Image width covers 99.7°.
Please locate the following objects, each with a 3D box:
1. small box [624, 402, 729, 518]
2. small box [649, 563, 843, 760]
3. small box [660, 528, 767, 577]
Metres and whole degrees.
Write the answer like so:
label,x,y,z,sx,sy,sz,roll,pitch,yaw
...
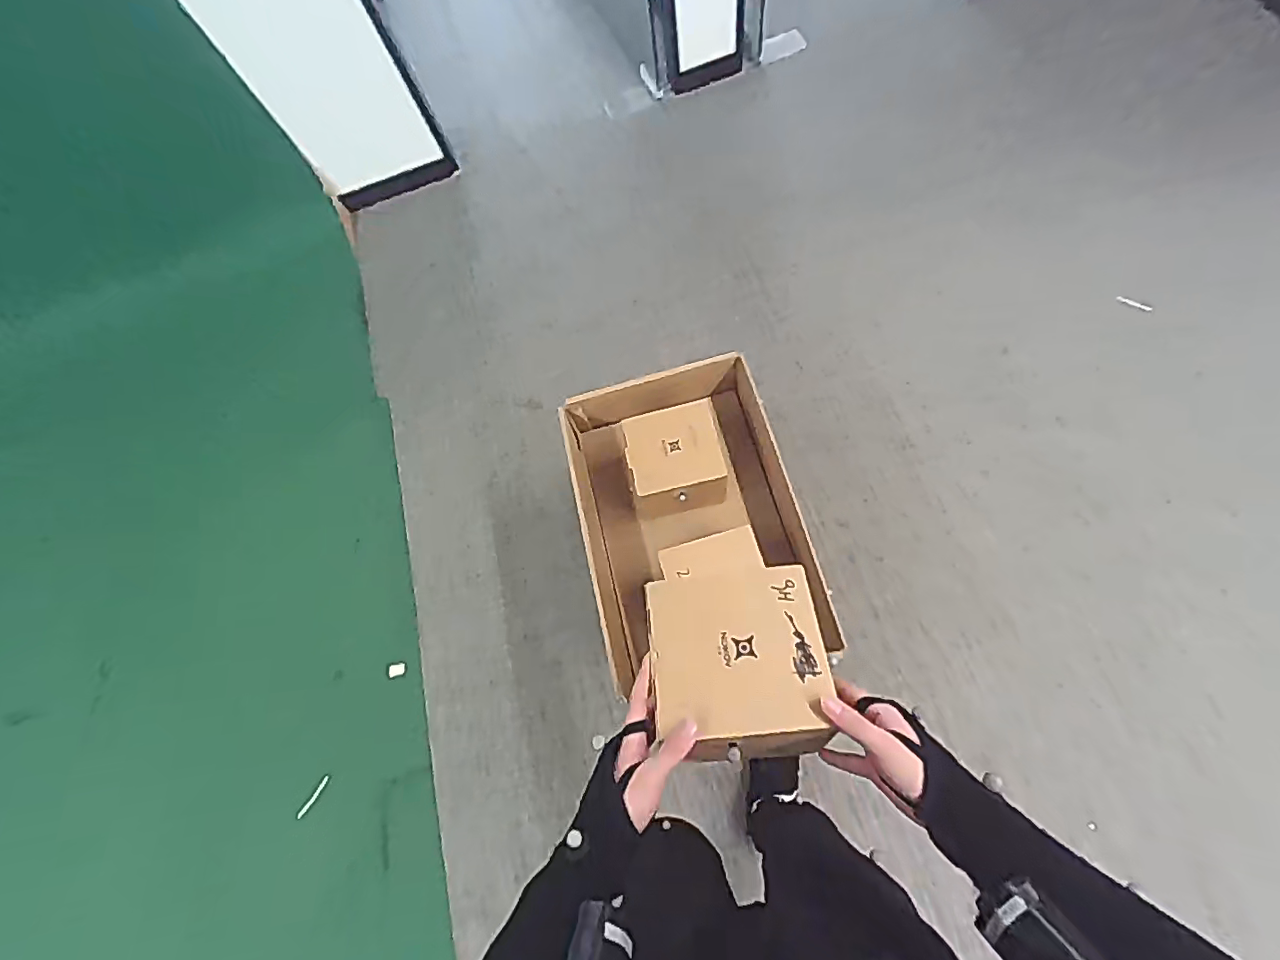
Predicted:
label,x,y,z,sx,sy,sz,roll,pitch,yaw
small box,0.076,-0.033,1.096,0.179,0.176,0.168,-12,69,2
small box,0.110,0.211,0.614,0.179,0.176,0.168,-7,55,4
small box,0.146,0.205,0.995,0.179,0.176,0.168,-16,68,2
